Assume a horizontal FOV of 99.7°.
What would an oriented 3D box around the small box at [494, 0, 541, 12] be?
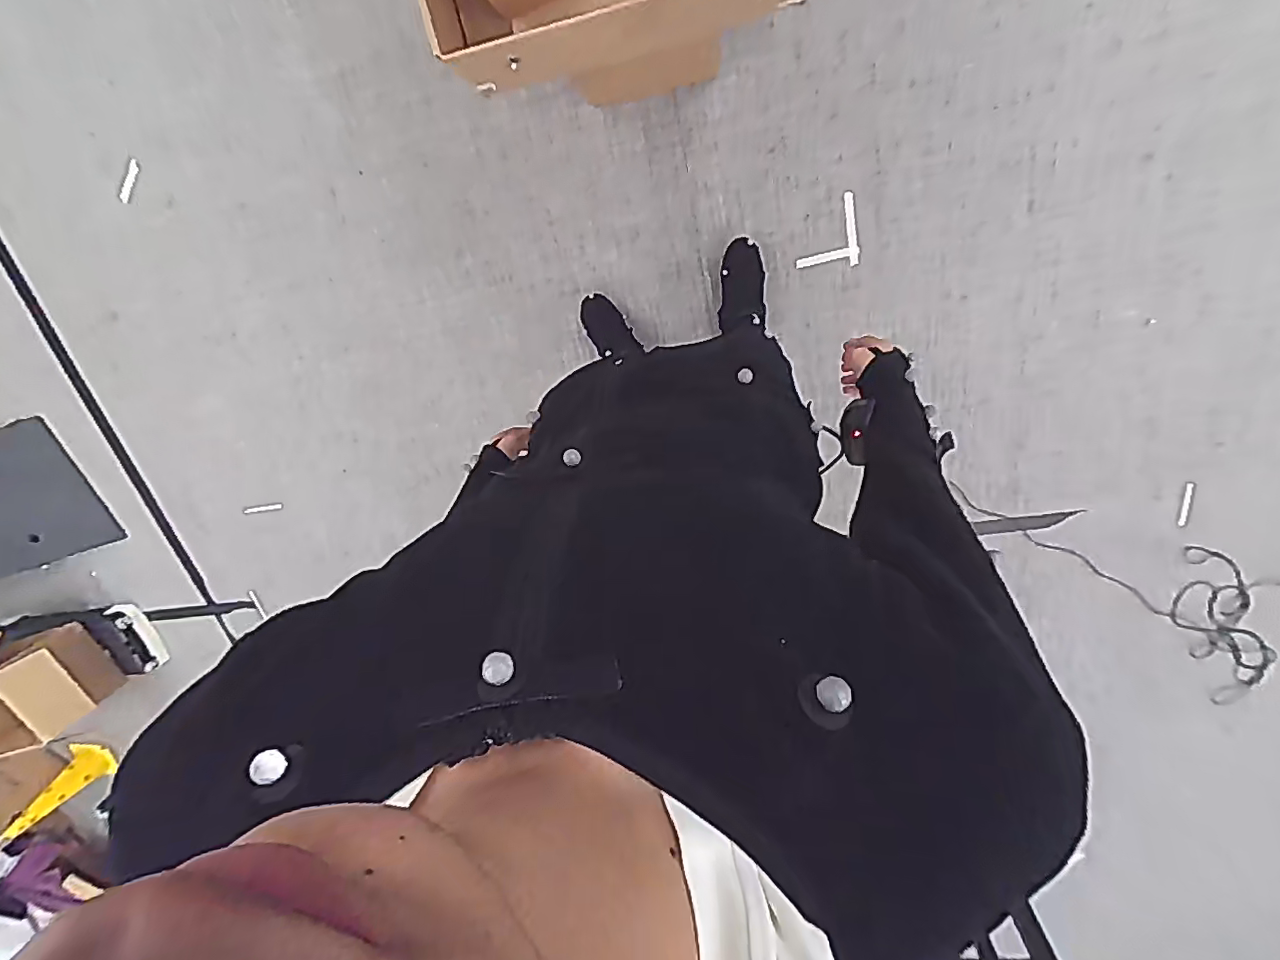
[{"bbox_3d":[-0.182,-0.862,0.816,0.179,0.176,0.168,-12,111,13],"label":"small box"}]
